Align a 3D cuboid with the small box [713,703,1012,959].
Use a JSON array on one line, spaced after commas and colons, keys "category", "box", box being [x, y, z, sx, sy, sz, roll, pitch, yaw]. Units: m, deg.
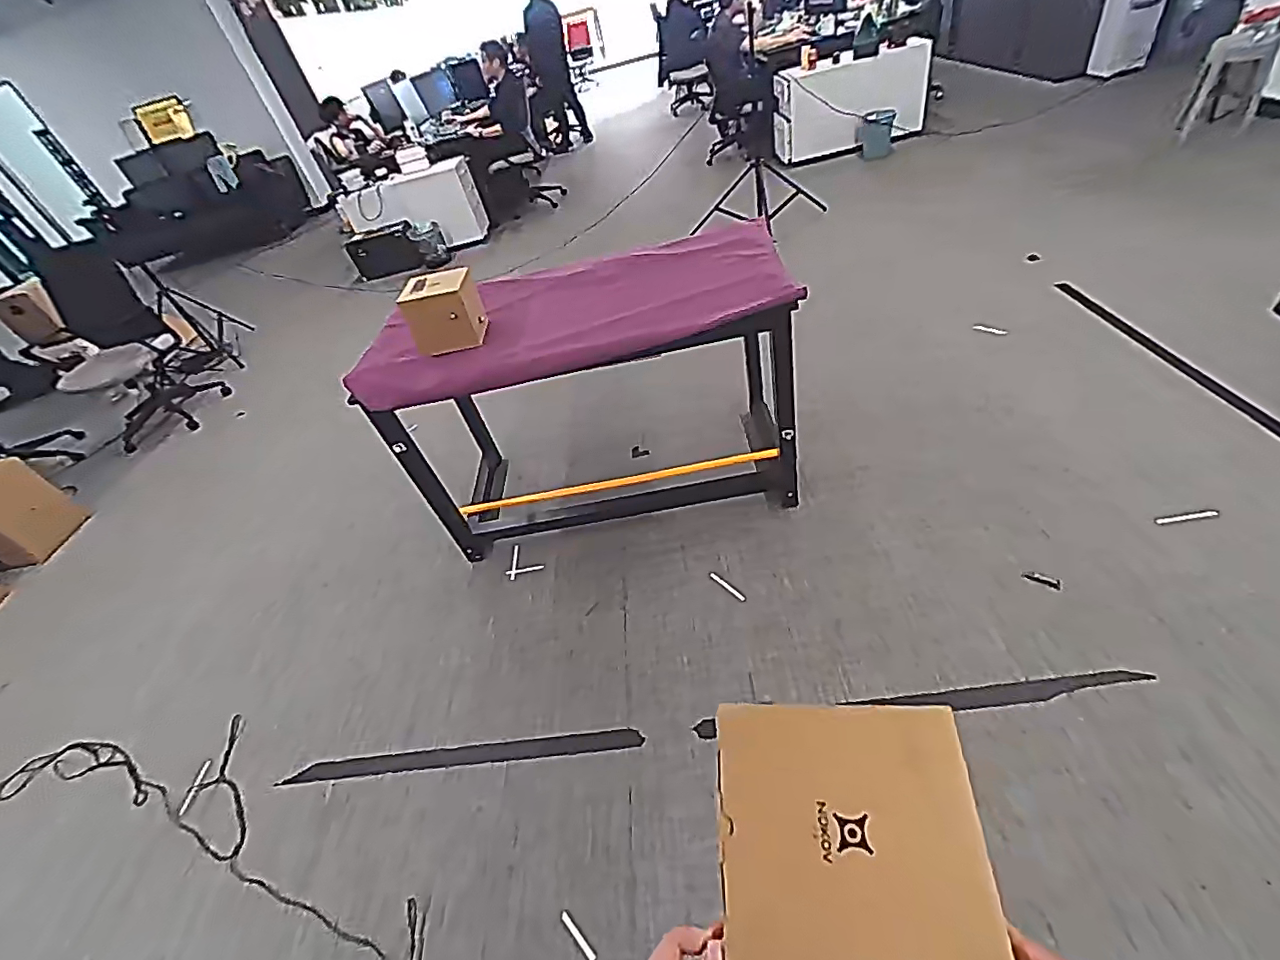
[{"category": "small box", "box": [0.156, 0.283, 0.436, 0.179, 0.176, 0.168, -6, 56, 12]}]
